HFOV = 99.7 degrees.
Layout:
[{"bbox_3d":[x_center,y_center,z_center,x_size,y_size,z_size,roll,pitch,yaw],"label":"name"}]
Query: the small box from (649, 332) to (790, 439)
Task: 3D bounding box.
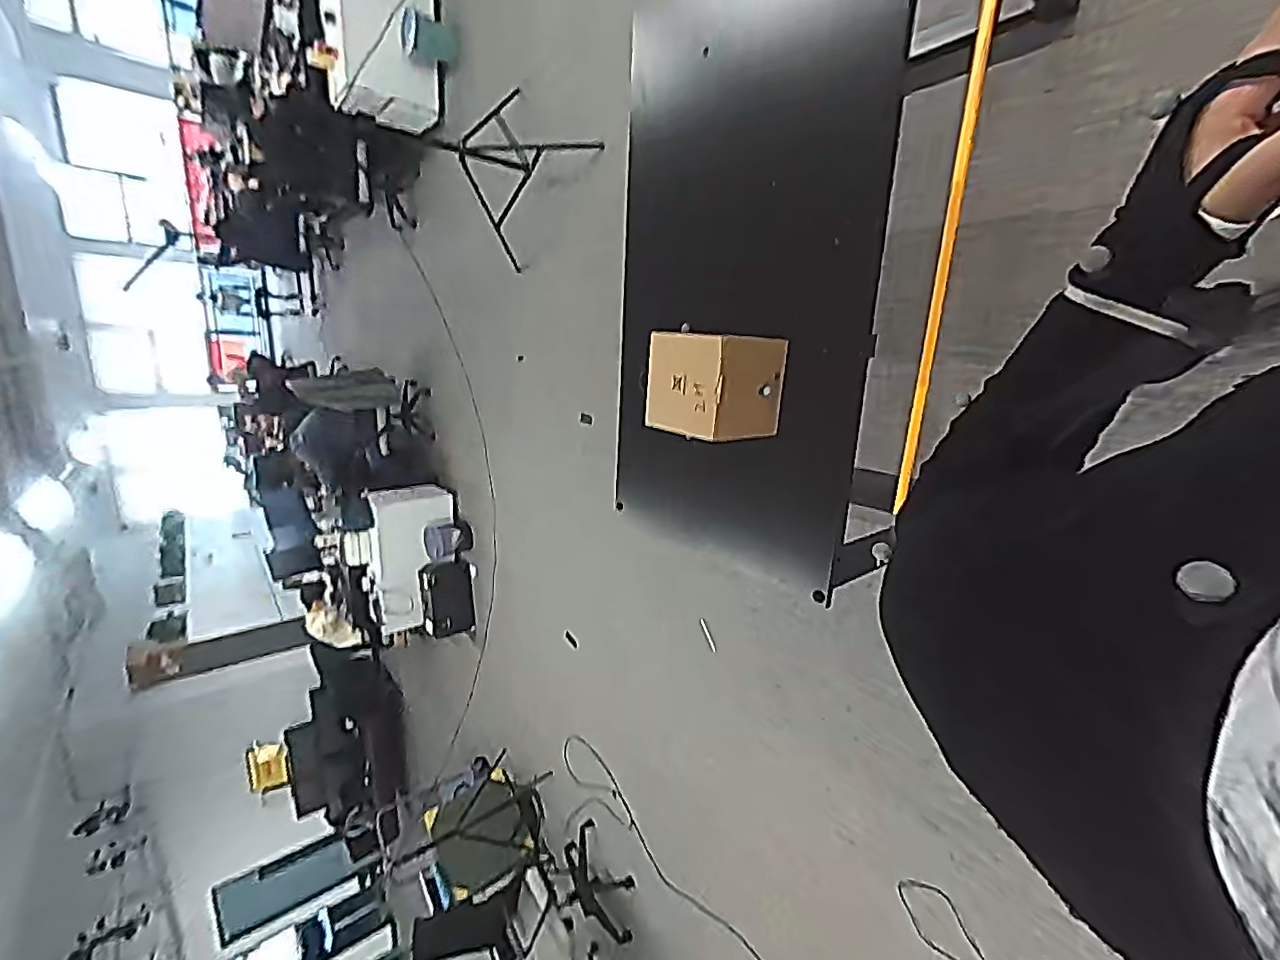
[{"bbox_3d":[0.138,-0.172,0.966,0.179,0.176,0.168,21,113,48],"label":"small box"}]
